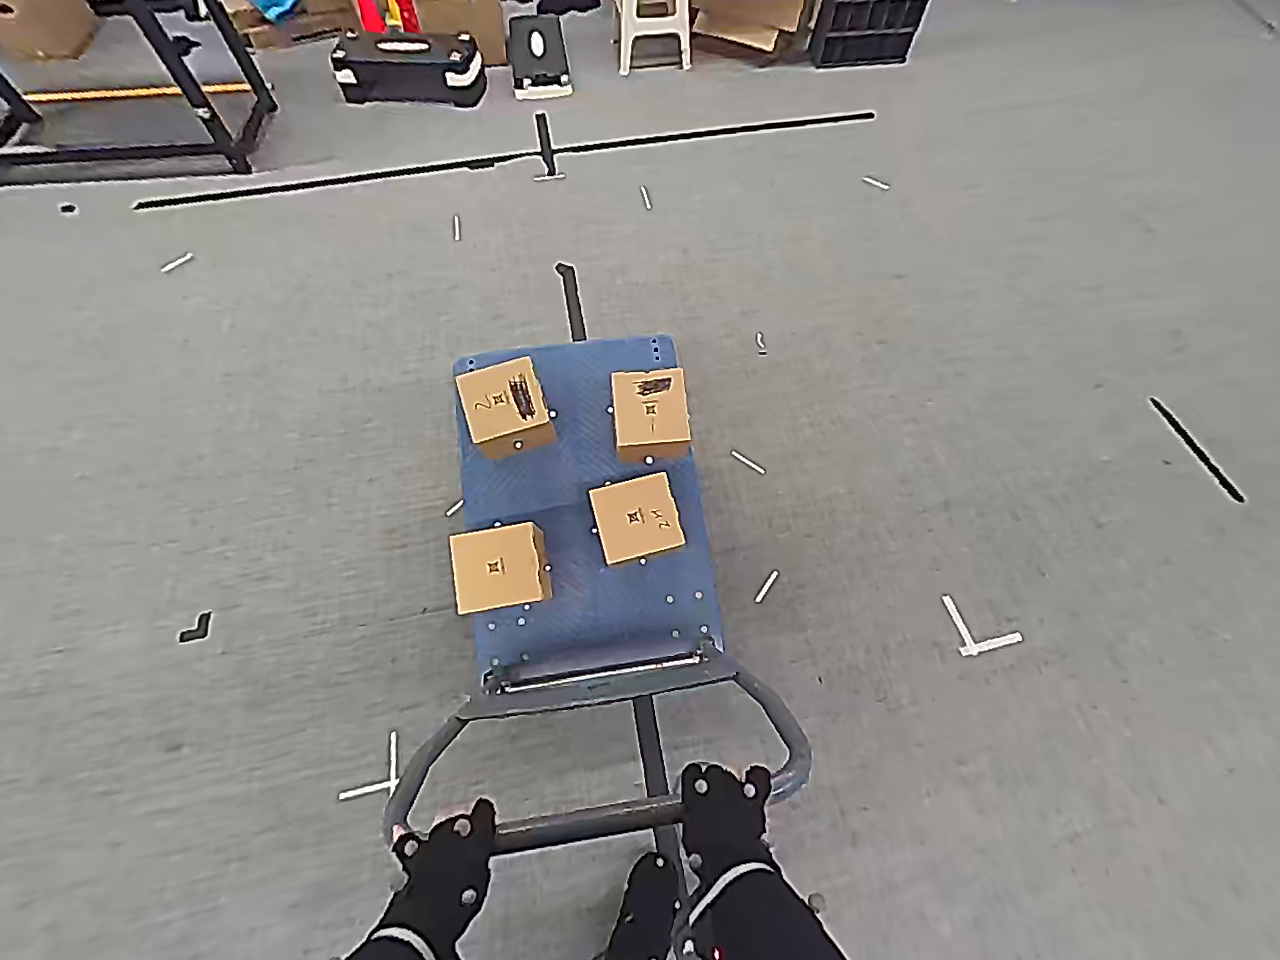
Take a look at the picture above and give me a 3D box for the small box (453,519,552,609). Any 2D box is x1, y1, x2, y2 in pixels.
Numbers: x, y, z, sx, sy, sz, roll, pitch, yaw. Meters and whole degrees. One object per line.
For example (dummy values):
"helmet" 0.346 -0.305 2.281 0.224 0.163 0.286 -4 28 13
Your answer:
"small box" -0.300 0.193 1.206 0.179 0.176 0.168 -9 78 -6

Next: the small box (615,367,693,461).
"small box" 0.027 -0.152 1.289 0.168 0.176 0.179 -4 79 -3

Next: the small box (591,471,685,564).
"small box" -0.005 0.092 1.236 0.179 0.176 0.168 -14 79 -4
